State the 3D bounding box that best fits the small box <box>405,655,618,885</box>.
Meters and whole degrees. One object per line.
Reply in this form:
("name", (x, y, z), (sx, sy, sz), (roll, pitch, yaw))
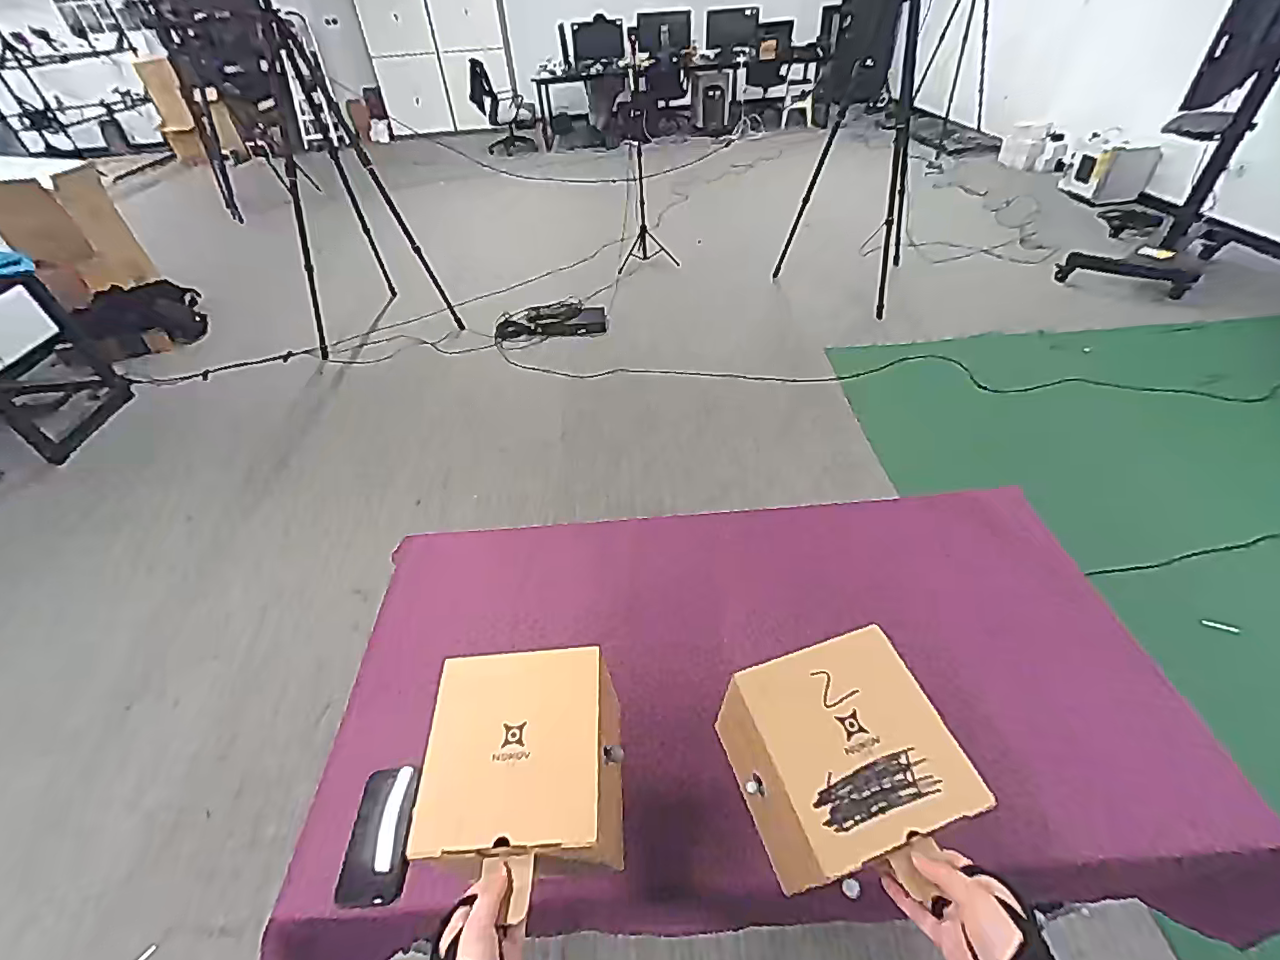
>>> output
("small box", (-0.115, 0.305, 0.568), (0.168, 0.176, 0.179), (-5, 49, 2))
